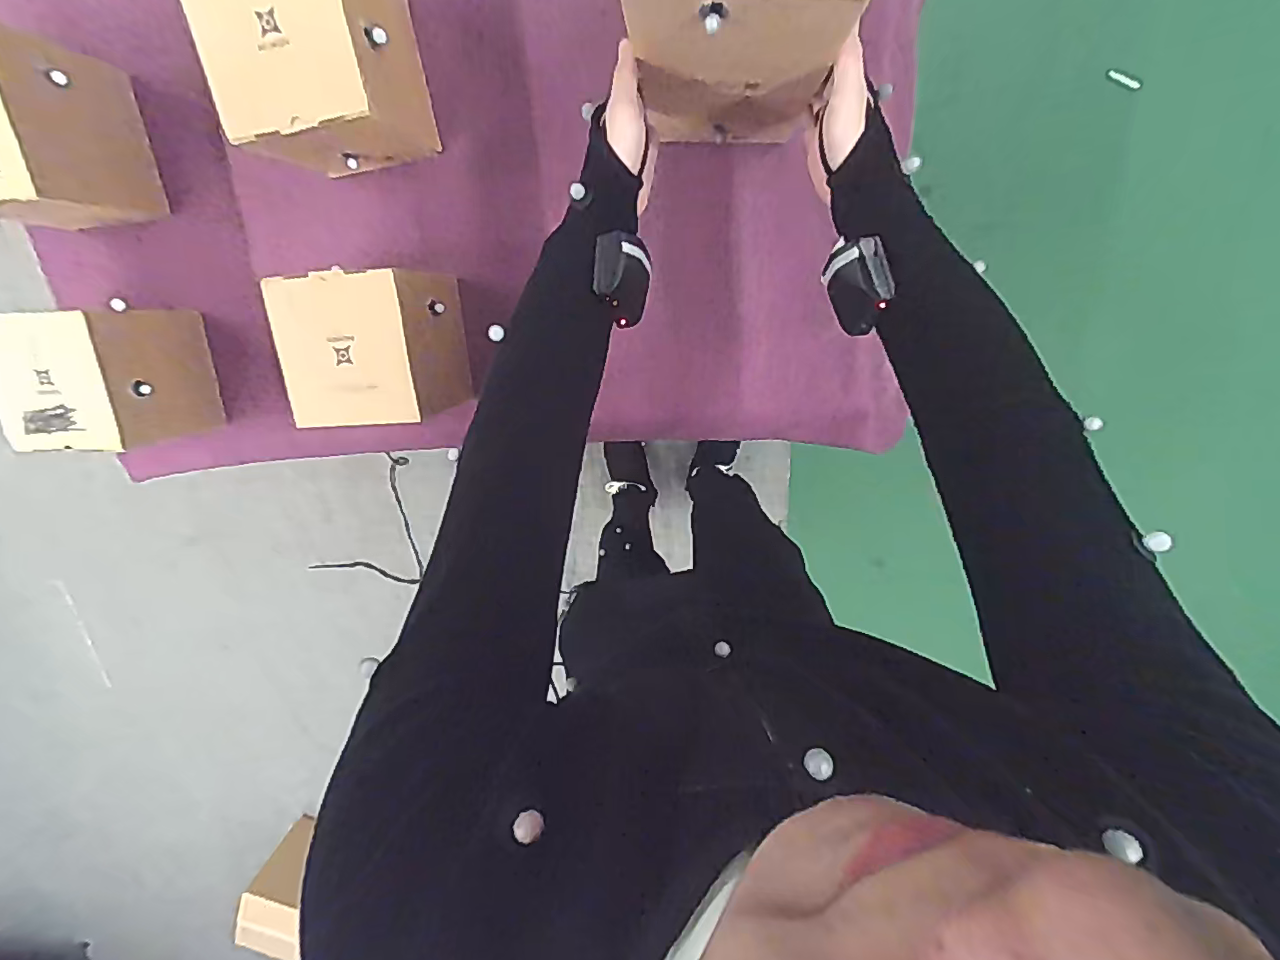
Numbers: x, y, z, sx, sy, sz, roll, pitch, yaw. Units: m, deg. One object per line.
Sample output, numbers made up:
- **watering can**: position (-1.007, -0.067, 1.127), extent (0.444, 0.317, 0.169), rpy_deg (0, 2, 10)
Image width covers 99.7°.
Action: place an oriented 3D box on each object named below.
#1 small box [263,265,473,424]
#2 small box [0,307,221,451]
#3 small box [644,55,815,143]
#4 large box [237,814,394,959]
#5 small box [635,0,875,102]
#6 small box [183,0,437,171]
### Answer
- **small box**: position (-0.335, -0.176, 0.703), extent (0.168, 0.176, 0.179), rpy_deg (-1, 108, 7)
- **small box**: position (-0.731, -0.146, 0.748), extent (0.168, 0.176, 0.179), rpy_deg (0, 107, 5)
- **small box**: position (0.093, -0.471, 0.555), extent (0.168, 0.176, 0.179), rpy_deg (3, 108, 4)
- **large box**: position (-1.251, 1.592, 2.107), extent (0.408, 0.320, 0.320), rpy_deg (21, 110, -3)
- **small box**: position (0.084, -0.417, 0.400), extent (0.168, 0.176, 0.179), rpy_deg (6, 107, 4)
- **small box**: position (-0.354, -0.471, 0.604), extent (0.168, 0.176, 0.179), rpy_deg (-6, 109, 7)
